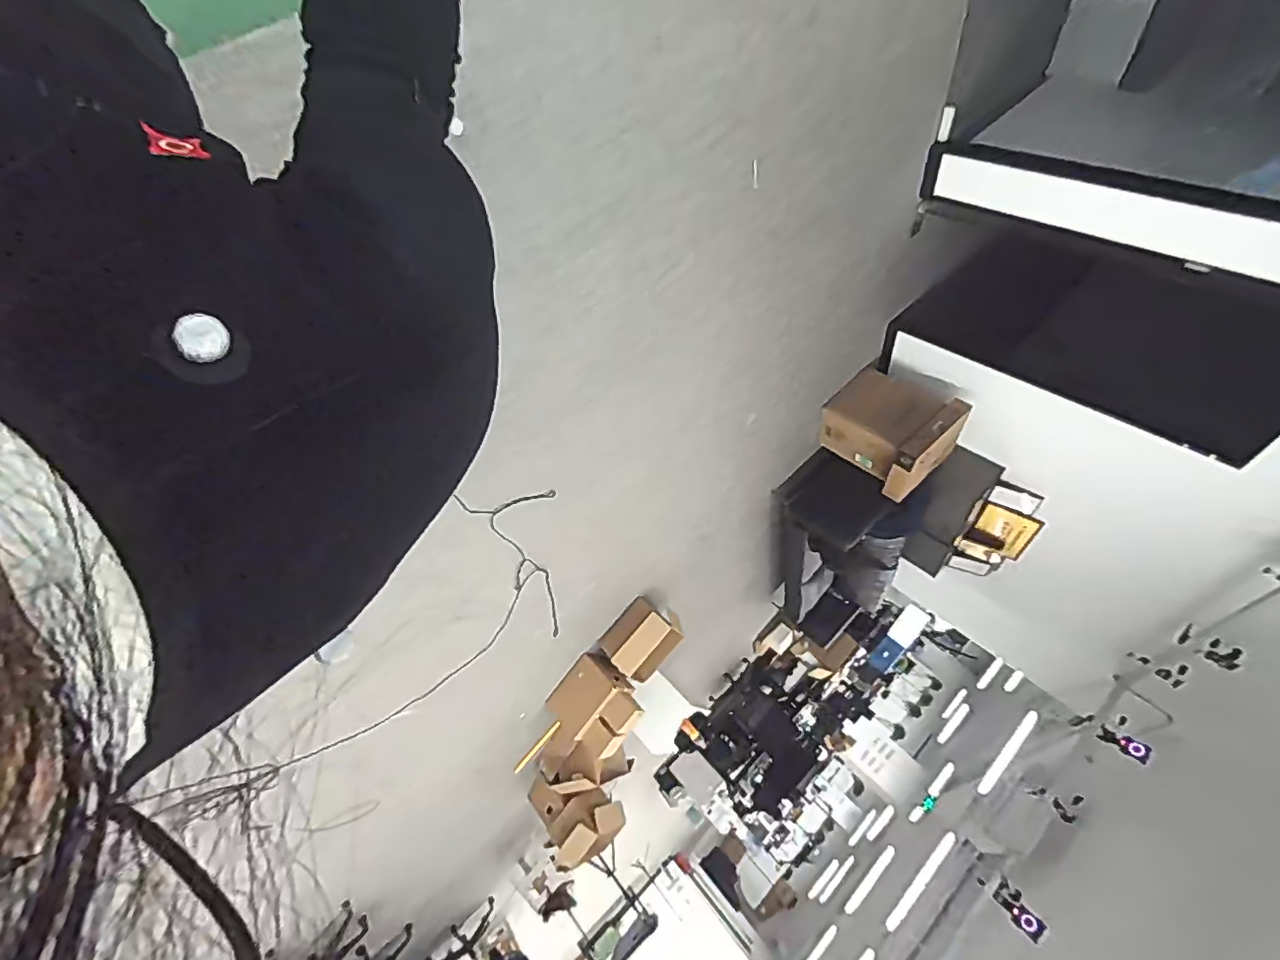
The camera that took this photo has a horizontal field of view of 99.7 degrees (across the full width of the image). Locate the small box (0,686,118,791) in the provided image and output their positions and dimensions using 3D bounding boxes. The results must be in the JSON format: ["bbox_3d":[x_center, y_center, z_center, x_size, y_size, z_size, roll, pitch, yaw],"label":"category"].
[{"bbox_3d":[-1.512,0.660,1.385,0.179,0.176,0.168,-43,148,-13],"label":"small box"}]
